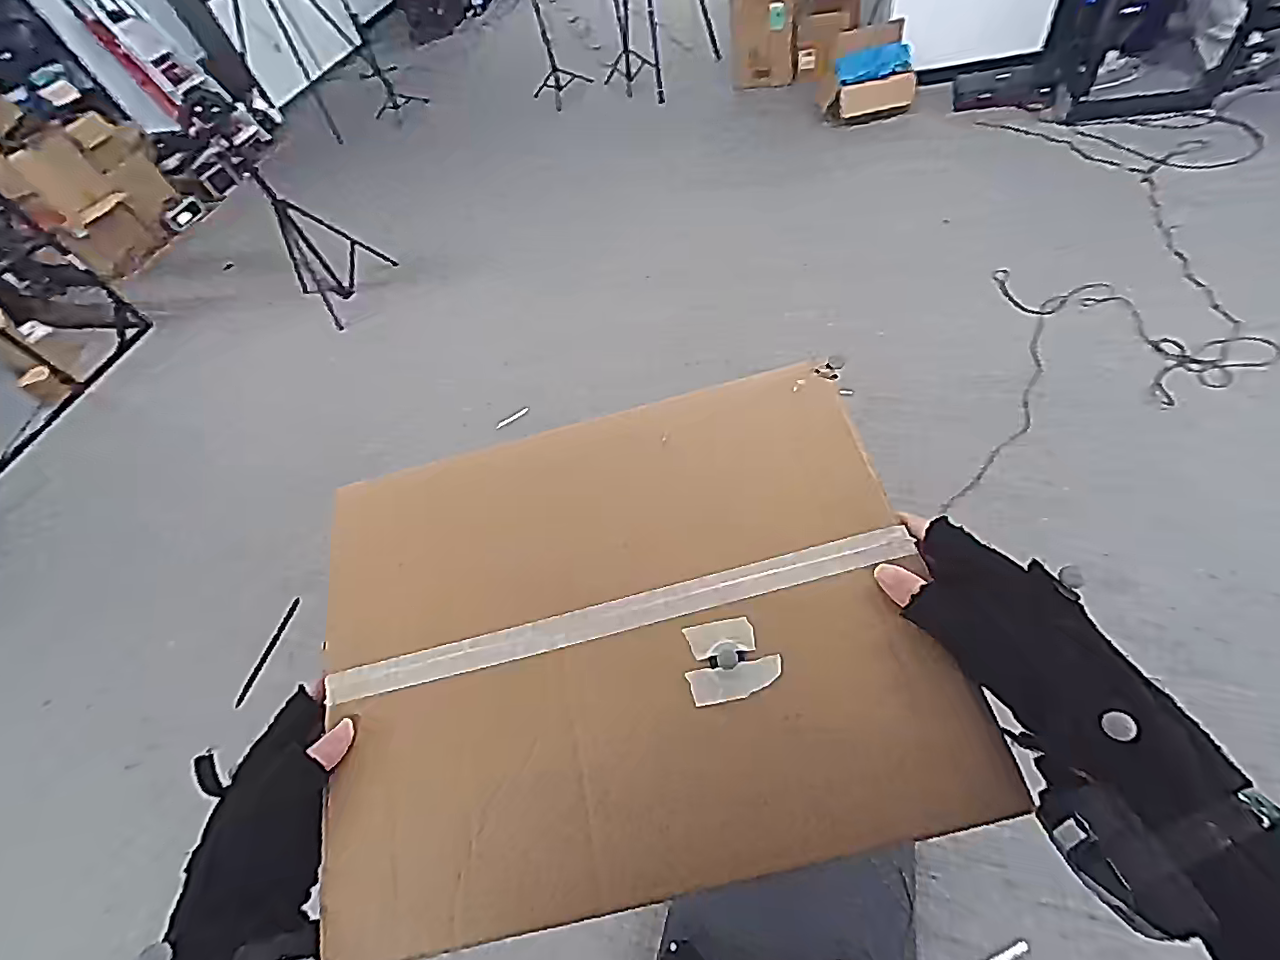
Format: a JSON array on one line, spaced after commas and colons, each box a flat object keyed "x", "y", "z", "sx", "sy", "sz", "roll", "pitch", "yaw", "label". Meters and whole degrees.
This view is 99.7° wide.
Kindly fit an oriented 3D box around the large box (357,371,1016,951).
[{"x": 0.012, "y": 0.157, "z": 0.511, "sx": 0.408, "sy": 0.320, "sz": 0.320, "roll": -14, "pitch": 65, "yaw": 2, "label": "large box"}]
